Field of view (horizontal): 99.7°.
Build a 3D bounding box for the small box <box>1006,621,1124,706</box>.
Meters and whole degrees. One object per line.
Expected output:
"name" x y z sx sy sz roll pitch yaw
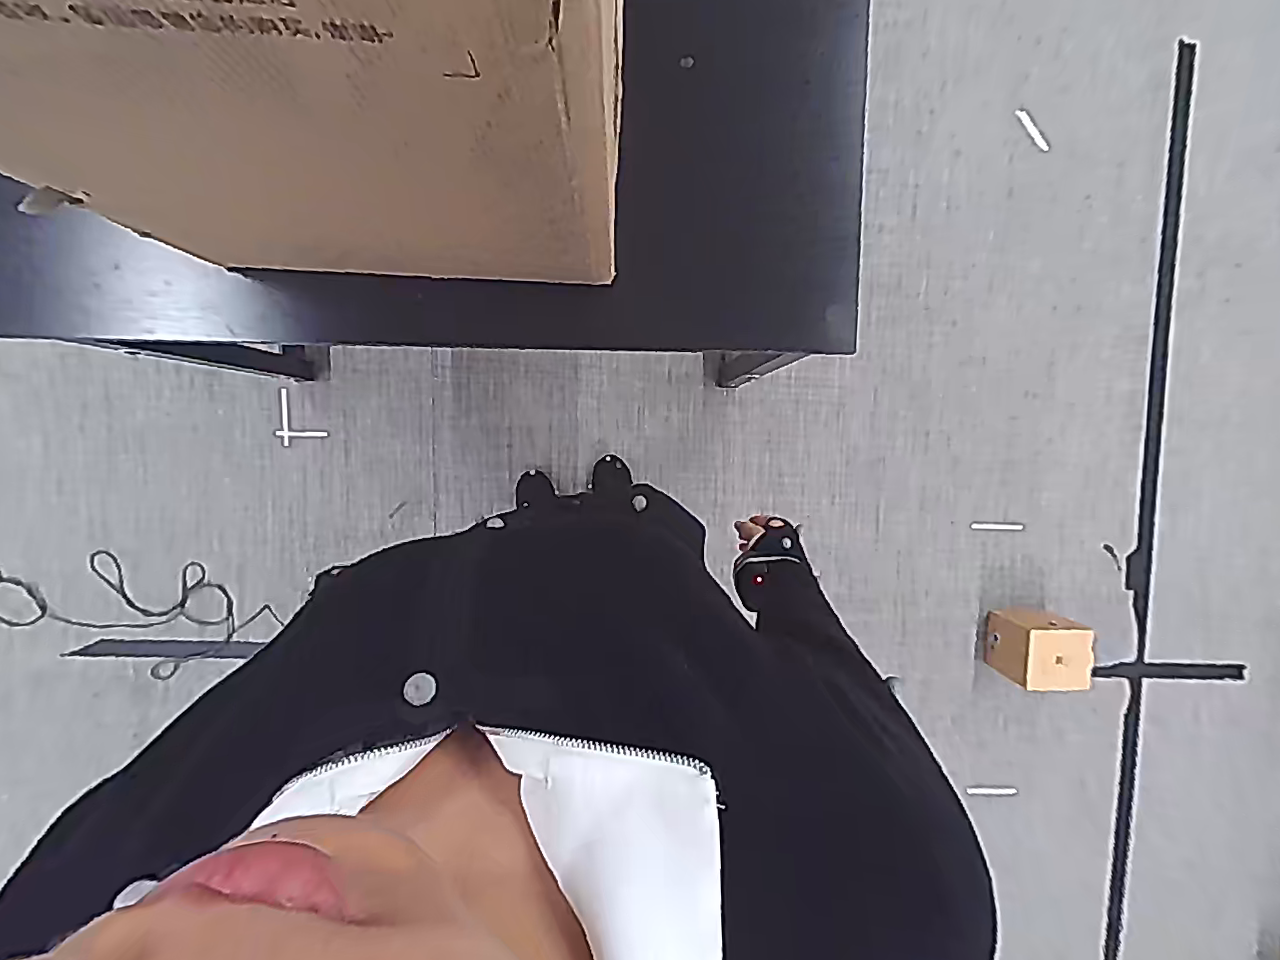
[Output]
"small box" 1.117 0.479 1.431 0.179 0.176 0.168 0 94 -2
